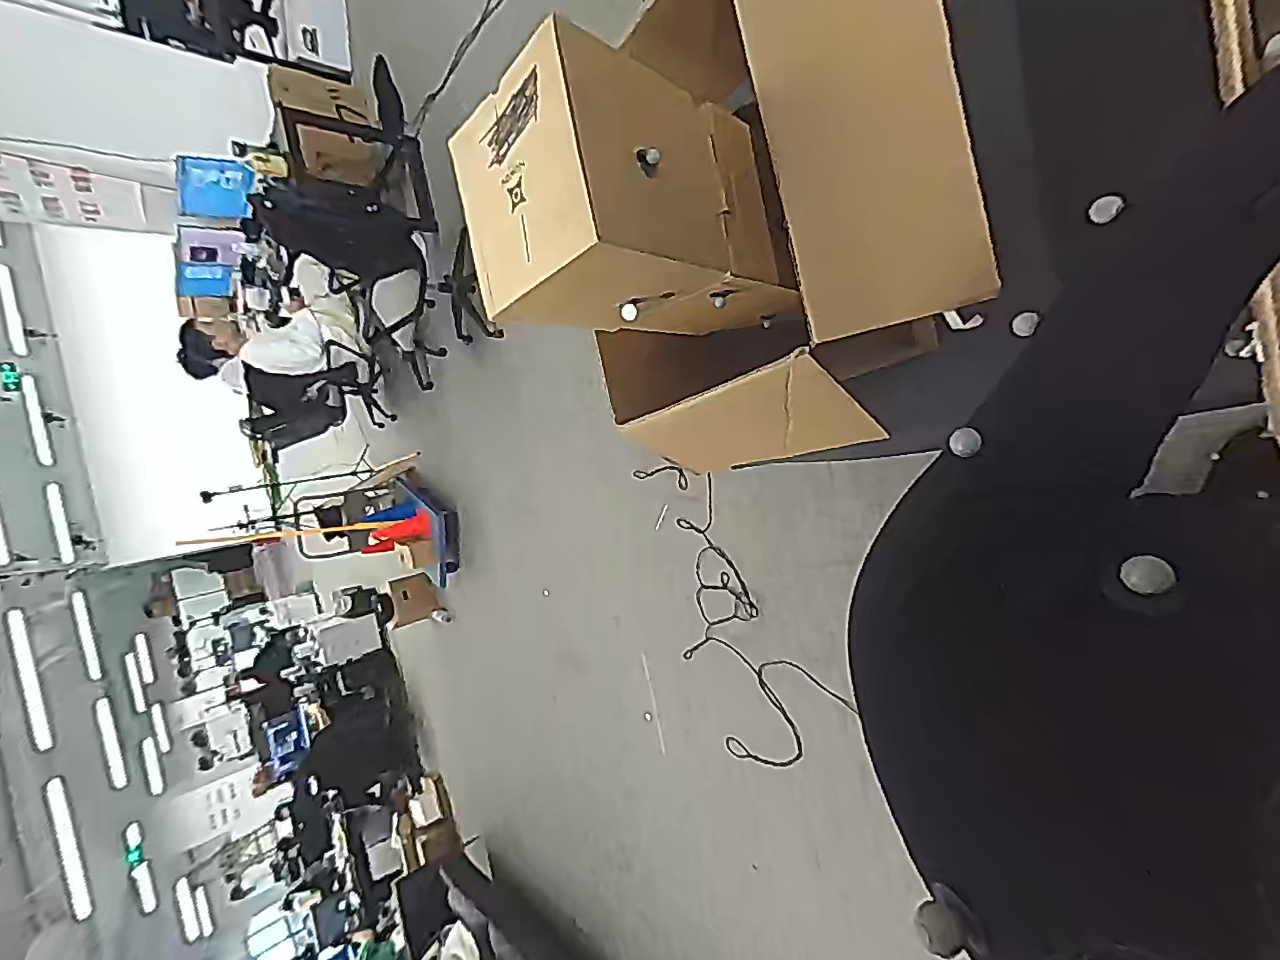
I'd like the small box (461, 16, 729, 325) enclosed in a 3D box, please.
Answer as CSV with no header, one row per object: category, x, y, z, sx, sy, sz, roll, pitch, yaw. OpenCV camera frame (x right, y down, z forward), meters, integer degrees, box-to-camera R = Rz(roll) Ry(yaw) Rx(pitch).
small box,-0.040,-0.260,0.511,0.168,0.176,0.179,-12,90,45
